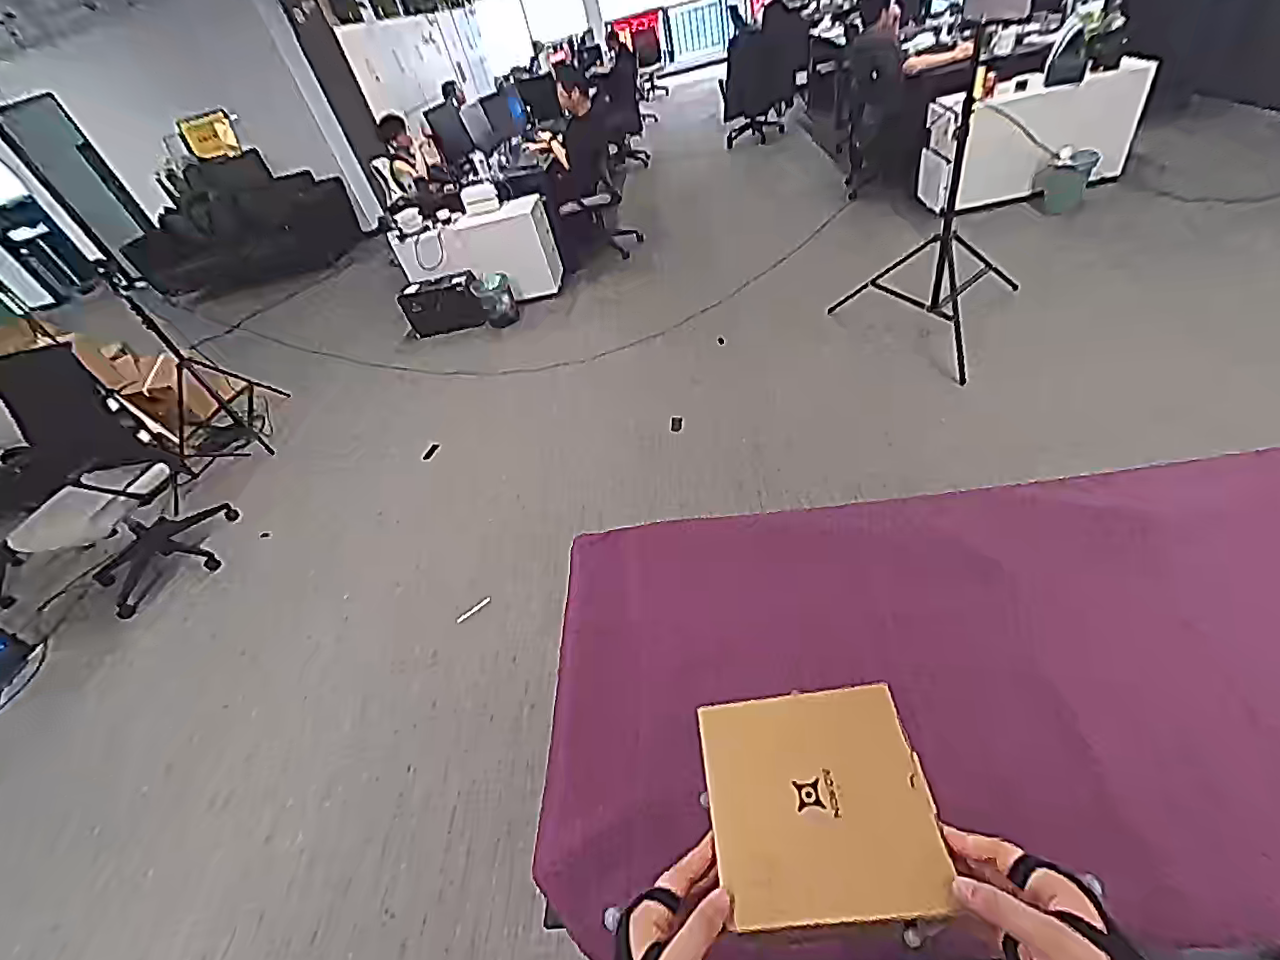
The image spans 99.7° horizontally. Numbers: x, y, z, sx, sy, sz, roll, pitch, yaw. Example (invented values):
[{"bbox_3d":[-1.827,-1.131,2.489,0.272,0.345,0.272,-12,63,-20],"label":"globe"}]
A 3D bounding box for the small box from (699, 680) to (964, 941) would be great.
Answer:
[{"bbox_3d":[0.160,0.310,0.502,0.179,0.176,0.168,-10,45,6],"label":"small box"}]
